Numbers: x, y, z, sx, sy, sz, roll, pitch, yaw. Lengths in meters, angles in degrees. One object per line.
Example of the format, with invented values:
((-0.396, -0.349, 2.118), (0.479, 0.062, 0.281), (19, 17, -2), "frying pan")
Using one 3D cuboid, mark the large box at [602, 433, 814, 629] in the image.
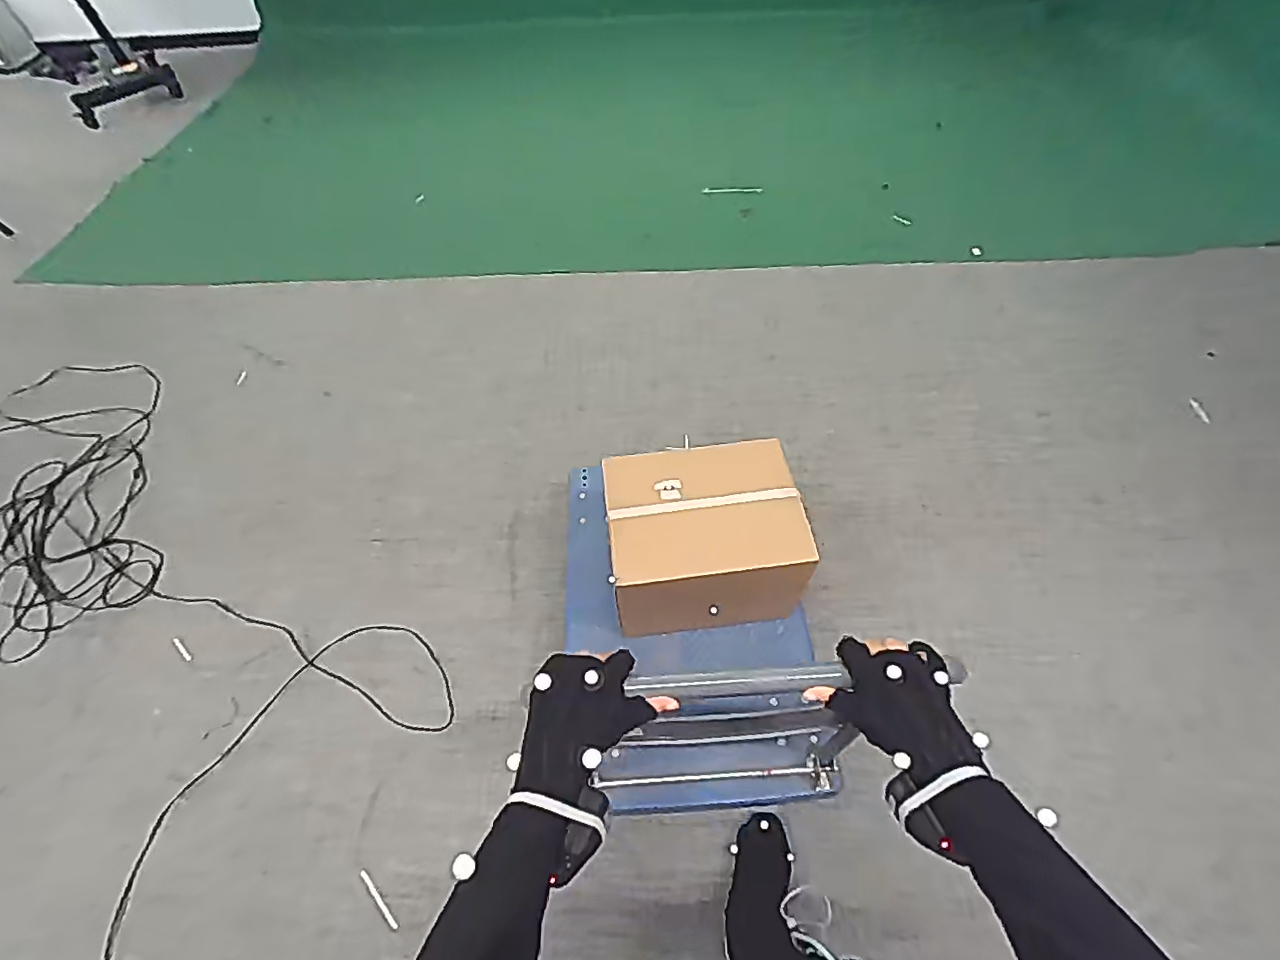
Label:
((0.140, 0.128, 1.272), (0.408, 0.320, 0.320), (-9, 56, -2), "large box")
